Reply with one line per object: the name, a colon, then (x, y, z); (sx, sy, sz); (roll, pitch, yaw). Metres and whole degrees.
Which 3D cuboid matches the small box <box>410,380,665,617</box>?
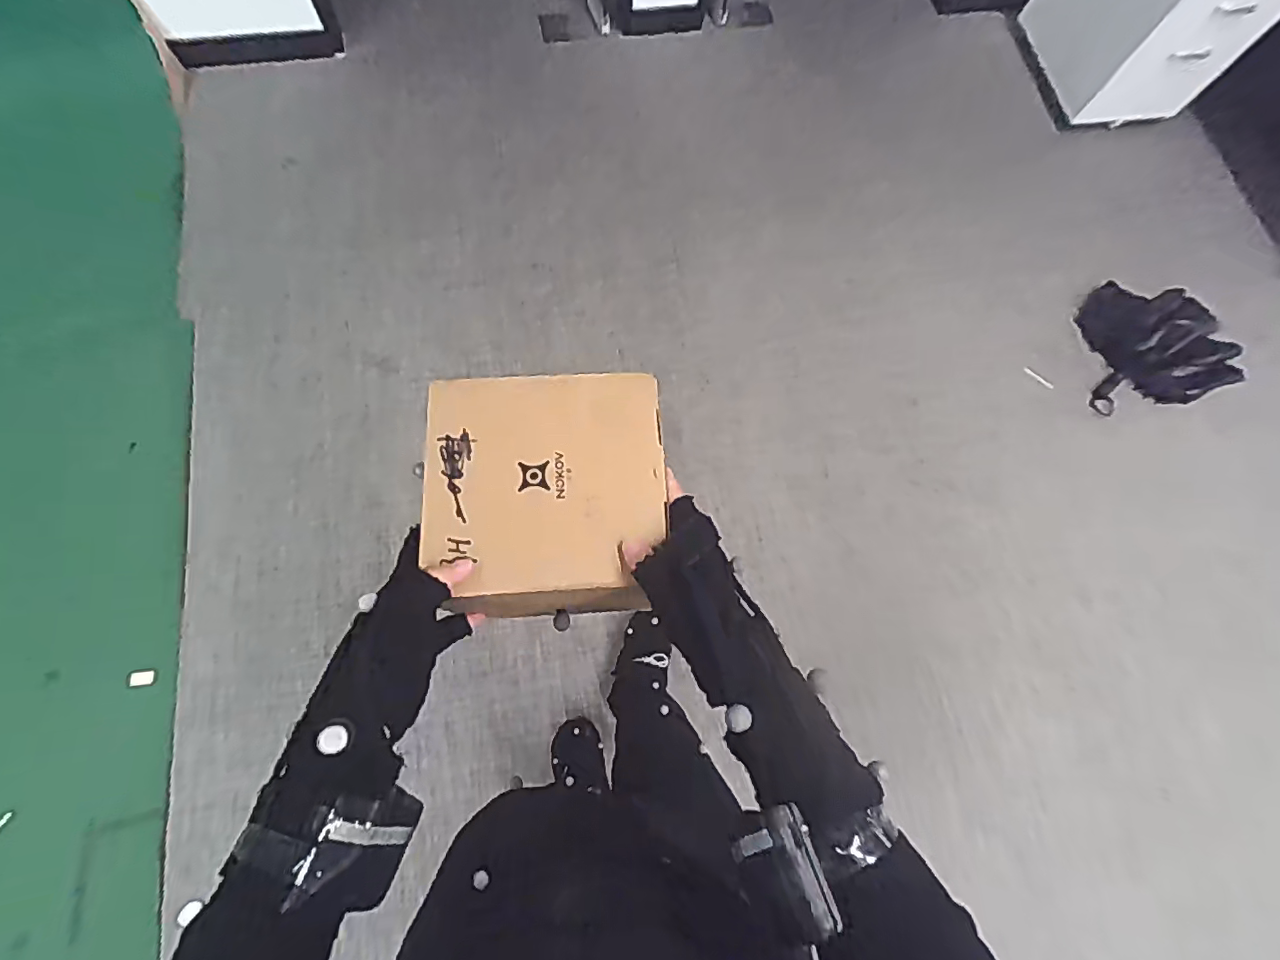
small box: (-0.079, 0.026, 0.471); (0.179, 0.176, 0.168); (-2, 71, -5)
